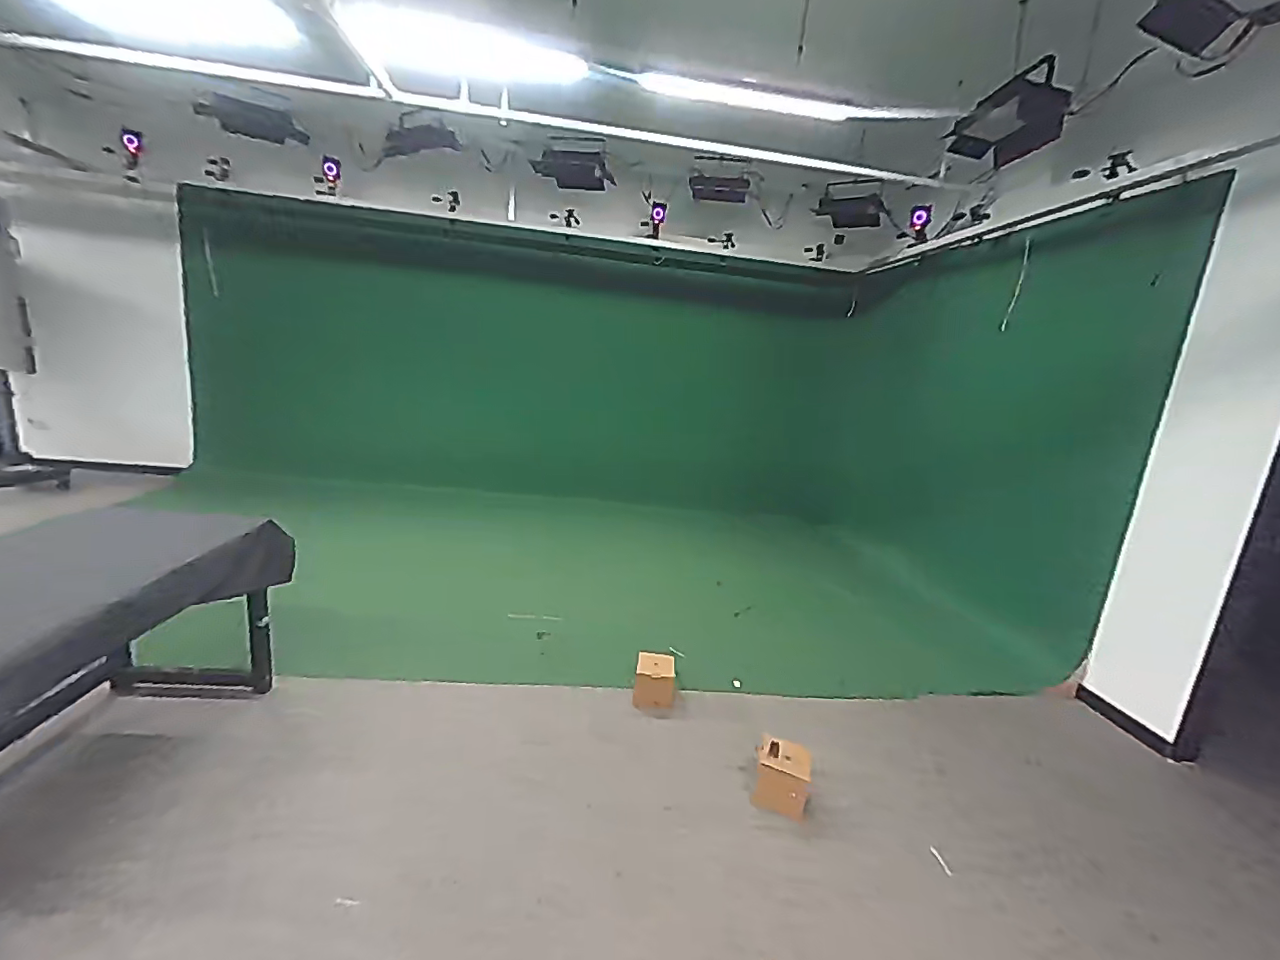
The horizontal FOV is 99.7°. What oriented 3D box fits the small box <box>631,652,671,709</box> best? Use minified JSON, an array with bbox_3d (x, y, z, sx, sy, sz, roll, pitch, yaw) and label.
[{"bbox_3d":[0.051,0.903,2.433,0.168,0.176,0.179,8,12,1],"label":"small box"}]
